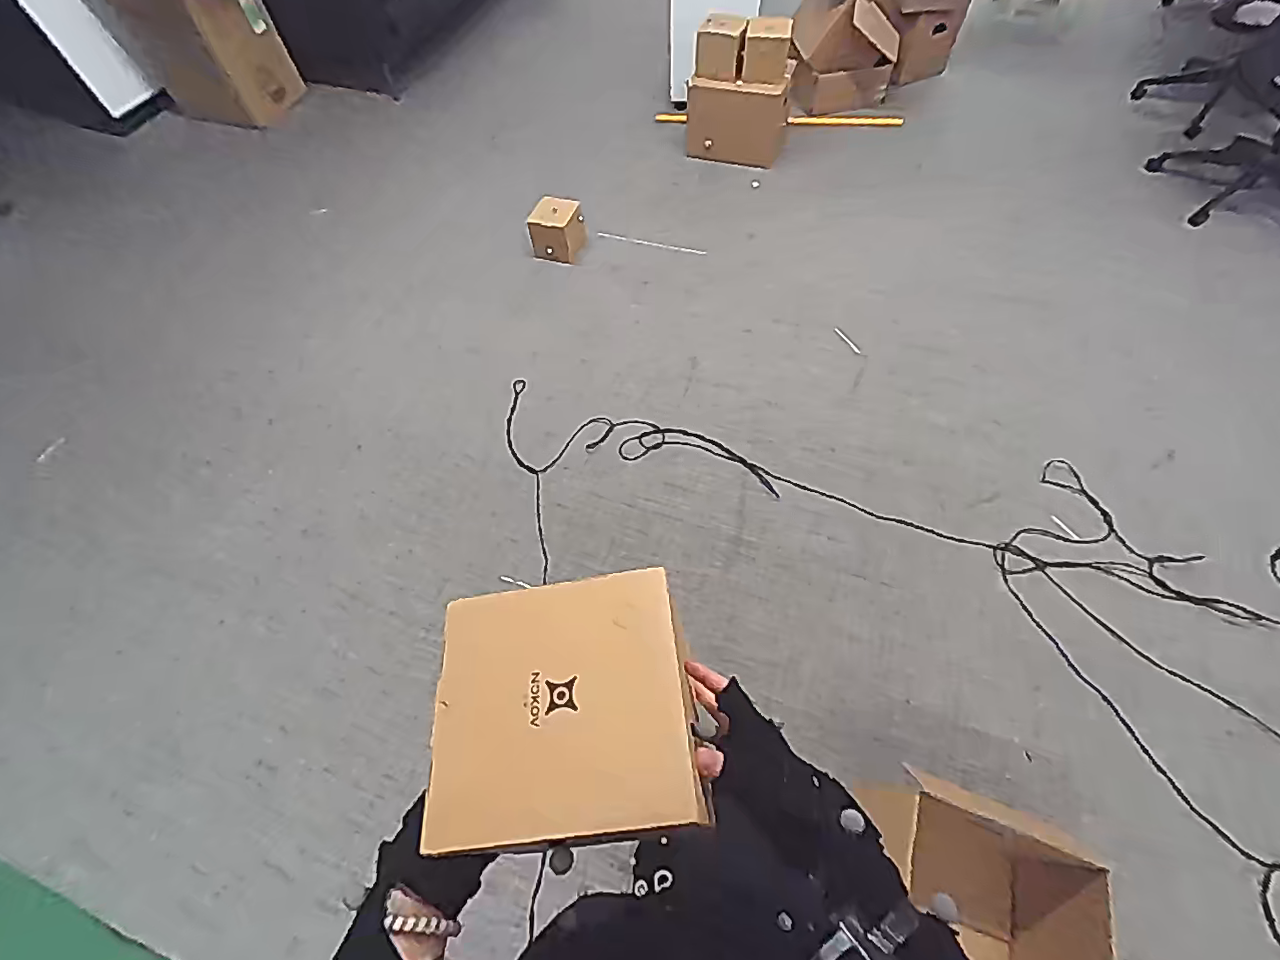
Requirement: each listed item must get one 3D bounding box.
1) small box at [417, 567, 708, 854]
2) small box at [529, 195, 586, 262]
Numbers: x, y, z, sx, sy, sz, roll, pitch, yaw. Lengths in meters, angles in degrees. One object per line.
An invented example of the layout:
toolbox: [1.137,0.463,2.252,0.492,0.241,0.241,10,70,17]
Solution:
small box: [-0.044,0.187,0.429,0.179,0.176,0.168,-10,55,6]
small box: [-0.329,-1.021,2.198,0.168,0.176,0.179,15,62,12]
